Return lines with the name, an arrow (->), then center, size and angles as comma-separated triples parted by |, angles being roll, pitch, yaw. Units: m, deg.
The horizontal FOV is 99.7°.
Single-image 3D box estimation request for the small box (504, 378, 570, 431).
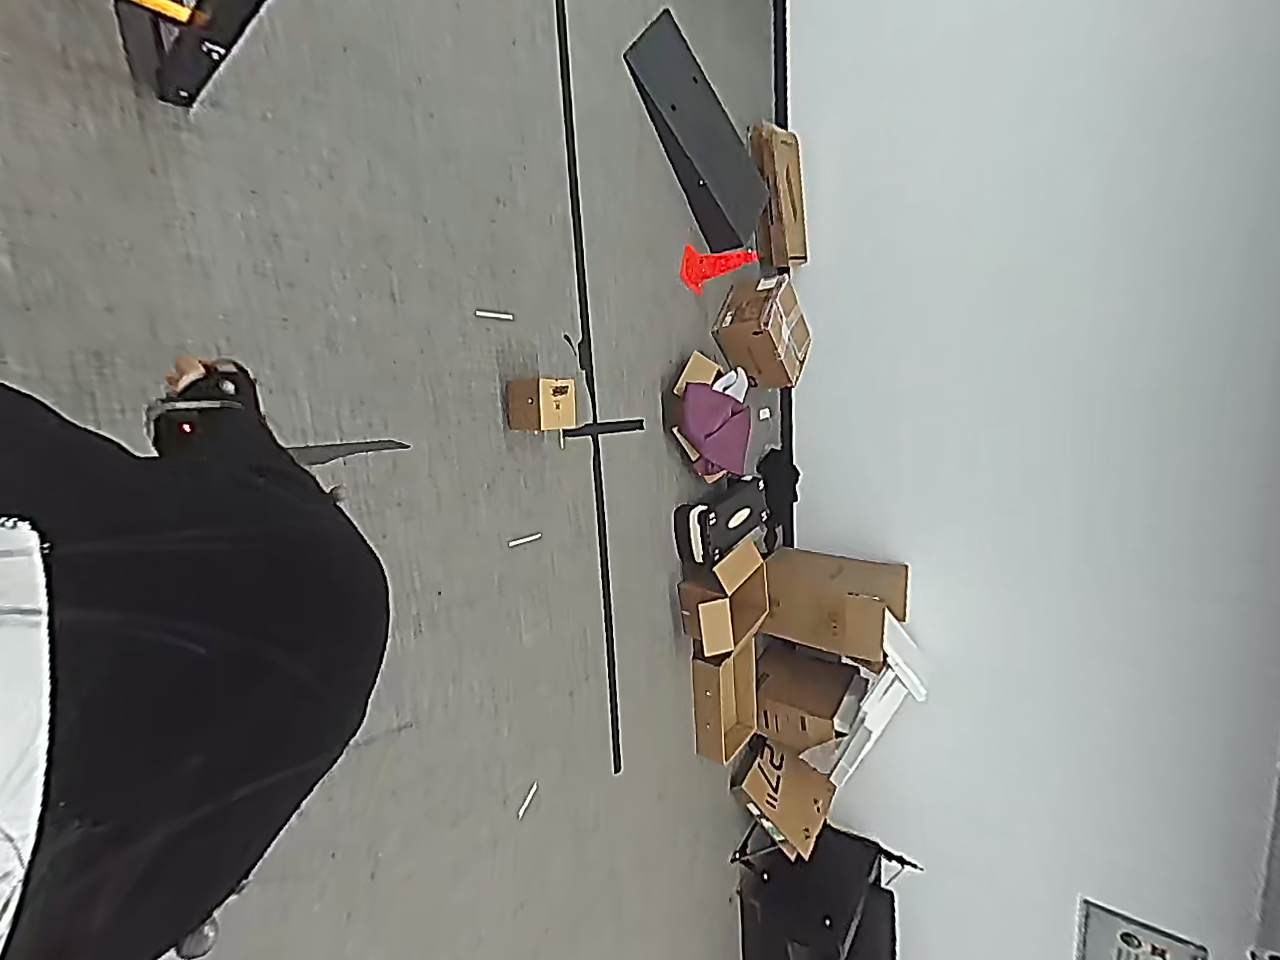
small box -> -0.366, -0.264, 1.912 | 0.168, 0.176, 0.179 | -10, 102, -52
